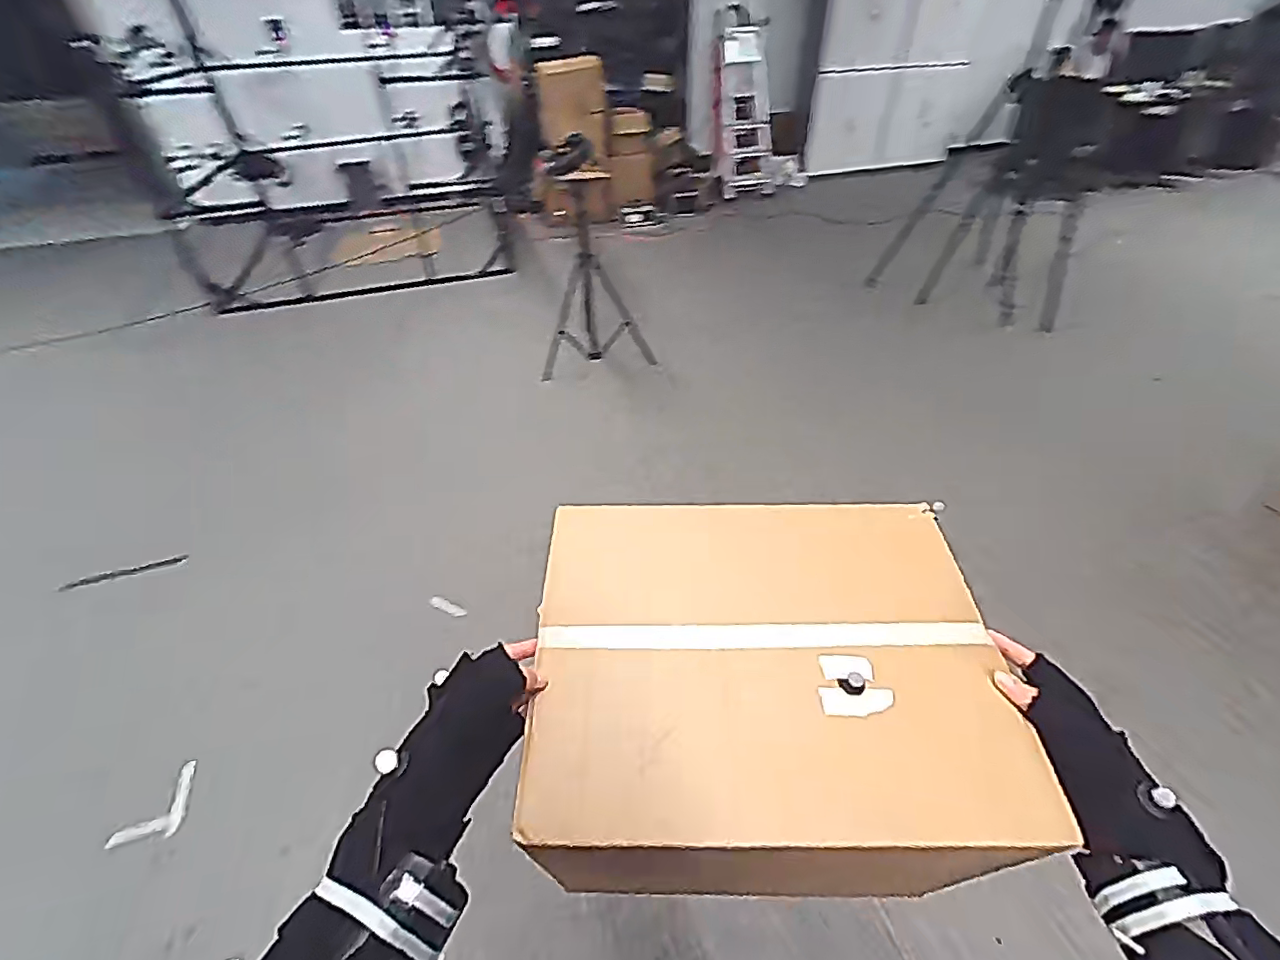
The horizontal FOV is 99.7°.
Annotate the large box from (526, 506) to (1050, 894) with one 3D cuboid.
[{"bbox_3d":[0.107,0.248,0.609,0.408,0.320,0.320,-1,48,0],"label":"large box"}]
